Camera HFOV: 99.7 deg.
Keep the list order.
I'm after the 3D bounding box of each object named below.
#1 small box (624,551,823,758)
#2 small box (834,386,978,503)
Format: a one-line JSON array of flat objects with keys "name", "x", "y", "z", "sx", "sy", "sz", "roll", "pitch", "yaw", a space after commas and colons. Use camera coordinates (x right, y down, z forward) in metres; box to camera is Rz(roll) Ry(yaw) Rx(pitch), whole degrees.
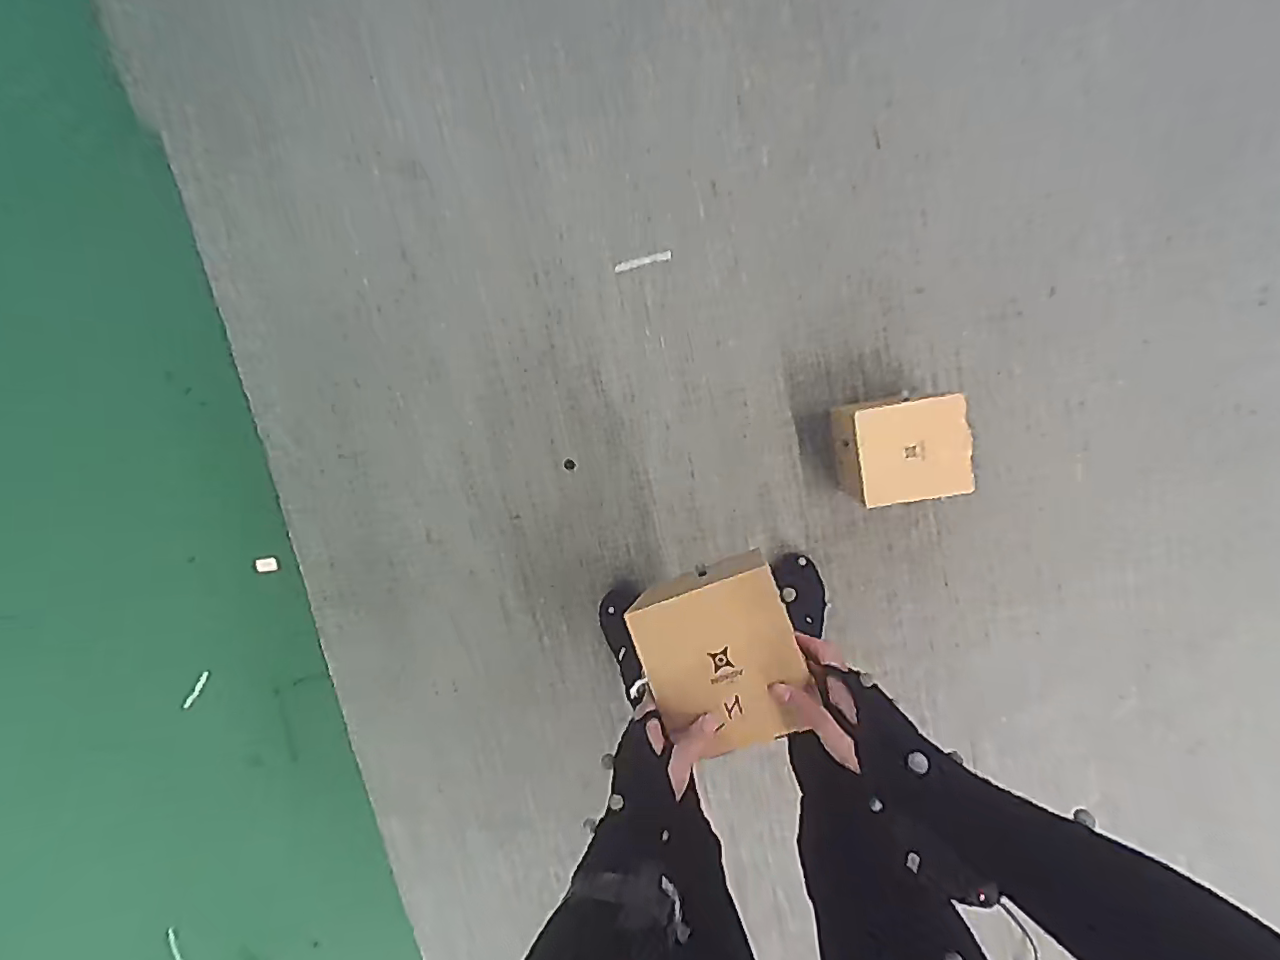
[{"name": "small box", "x": 0.098, "y": 0.191, "z": 0.649, "sx": 0.168, "sy": 0.176, "sz": 0.179, "roll": -21, "pitch": 86, "yaw": 10}, {"name": "small box", "x": 0.448, "y": -0.065, "z": 0.940, "sx": 0.179, "sy": 0.176, "sz": 0.168, "roll": -10, "pitch": 97, "yaw": 6}]
